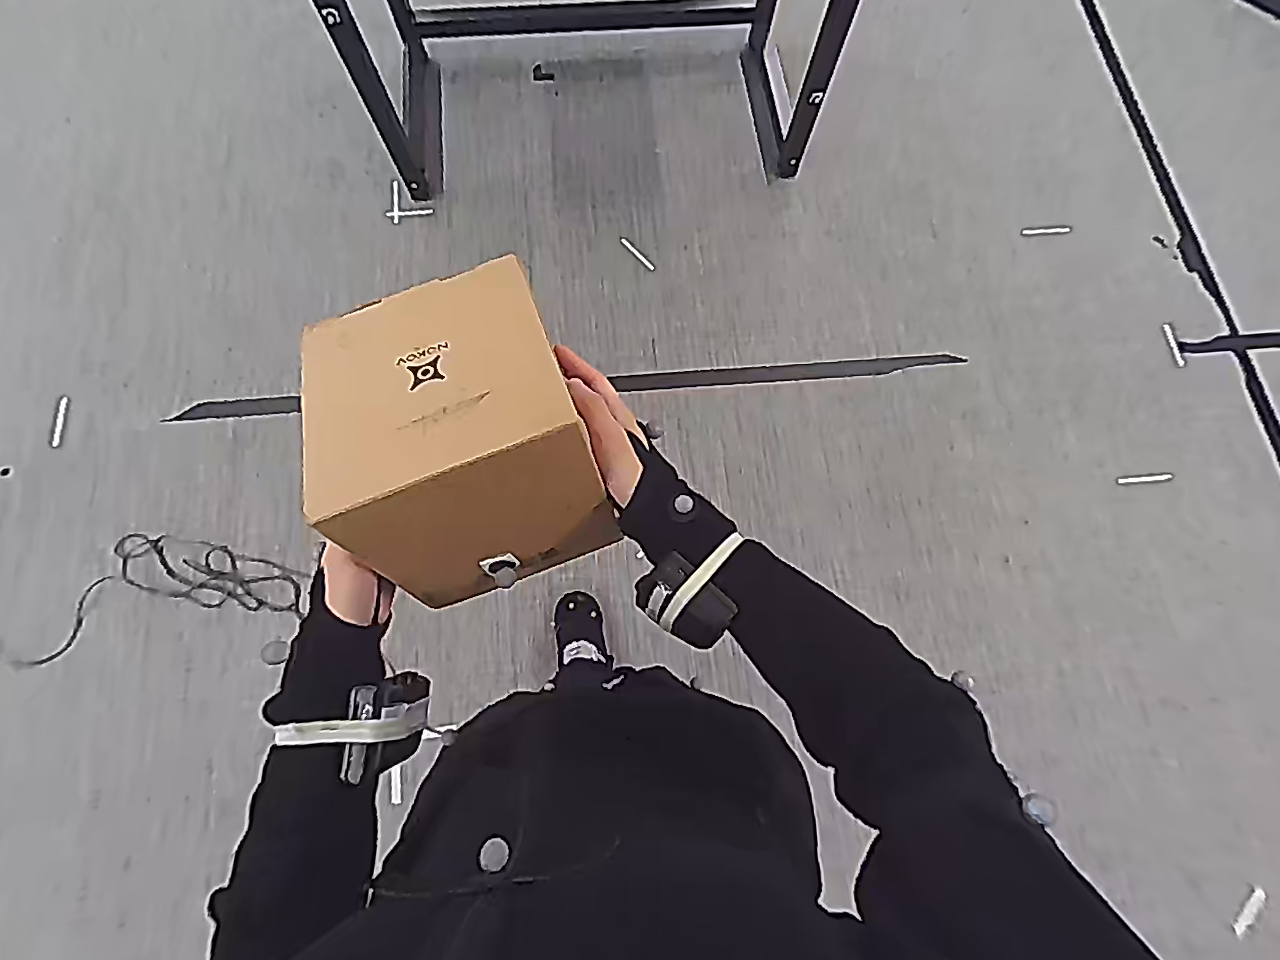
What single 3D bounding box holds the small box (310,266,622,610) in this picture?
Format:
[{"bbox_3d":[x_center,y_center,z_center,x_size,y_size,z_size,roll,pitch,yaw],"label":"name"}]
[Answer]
[{"bbox_3d":[-0.126,-0.025,0.425,0.168,0.176,0.179,-22,59,-4],"label":"small box"}]
